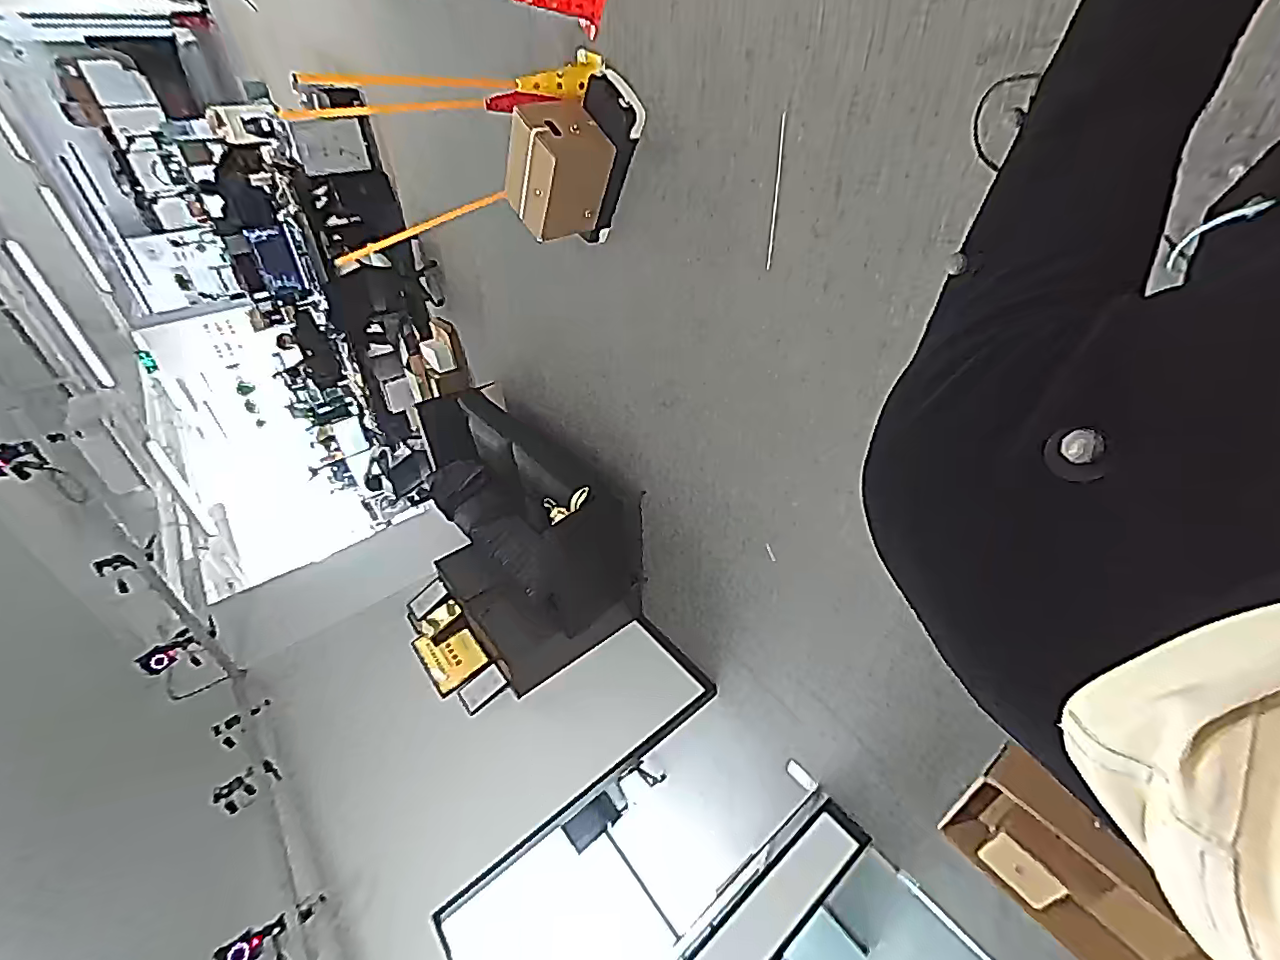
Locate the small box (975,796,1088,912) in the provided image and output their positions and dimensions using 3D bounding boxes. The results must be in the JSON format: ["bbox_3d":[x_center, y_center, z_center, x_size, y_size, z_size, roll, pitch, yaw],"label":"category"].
[{"bbox_3d":[1.060,1.005,1.462,0.168,0.176,0.179,39,142,37],"label":"small box"}]
